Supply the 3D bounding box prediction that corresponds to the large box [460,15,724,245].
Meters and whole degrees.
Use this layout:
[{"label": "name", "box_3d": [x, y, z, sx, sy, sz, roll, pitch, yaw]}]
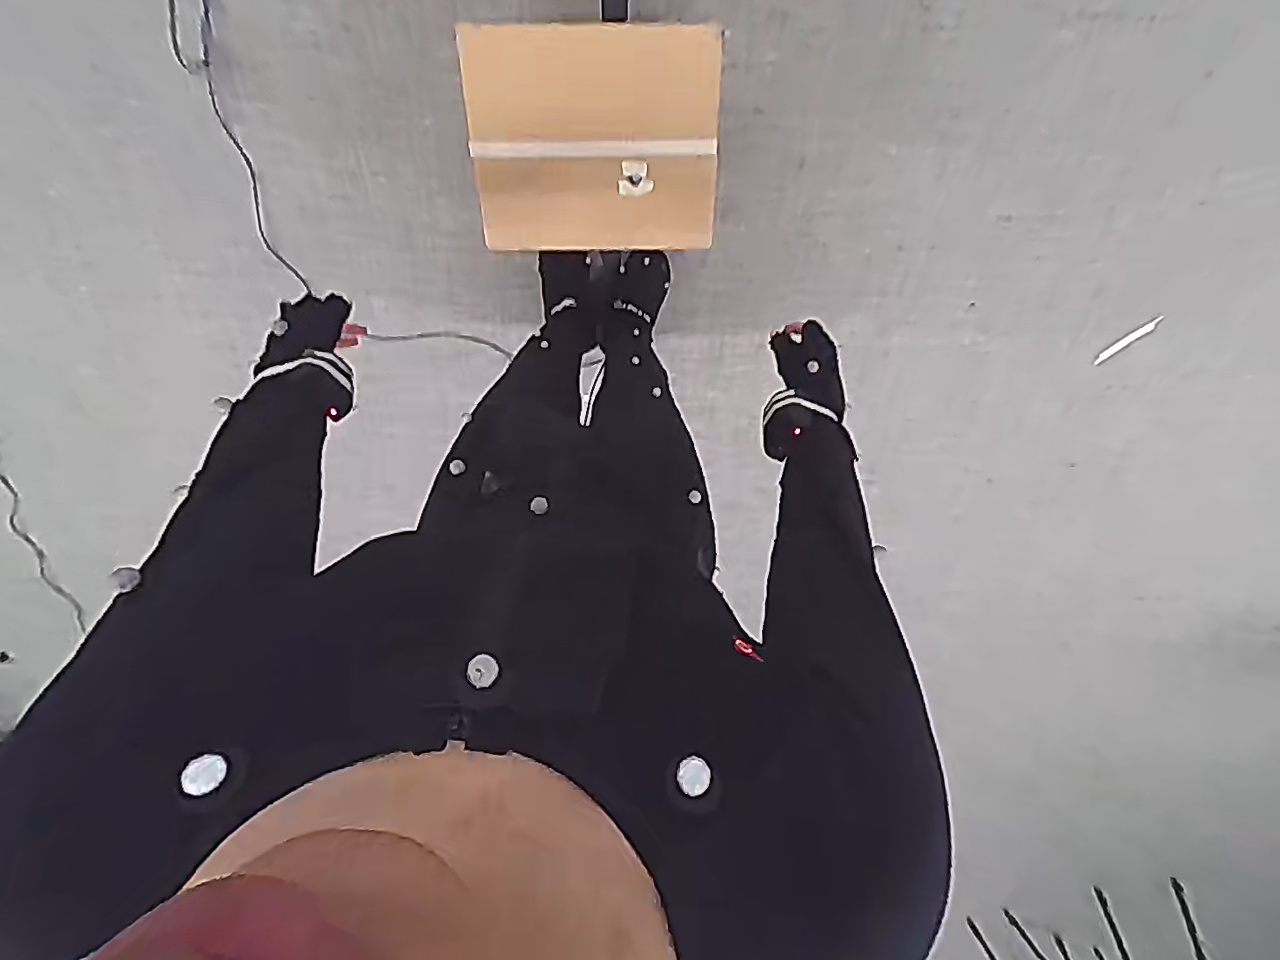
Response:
[{"label": "large box", "box_3d": [-0.074, -0.635, 1.012, 0.408, 0.320, 0.320, -1, 122, -1]}]
